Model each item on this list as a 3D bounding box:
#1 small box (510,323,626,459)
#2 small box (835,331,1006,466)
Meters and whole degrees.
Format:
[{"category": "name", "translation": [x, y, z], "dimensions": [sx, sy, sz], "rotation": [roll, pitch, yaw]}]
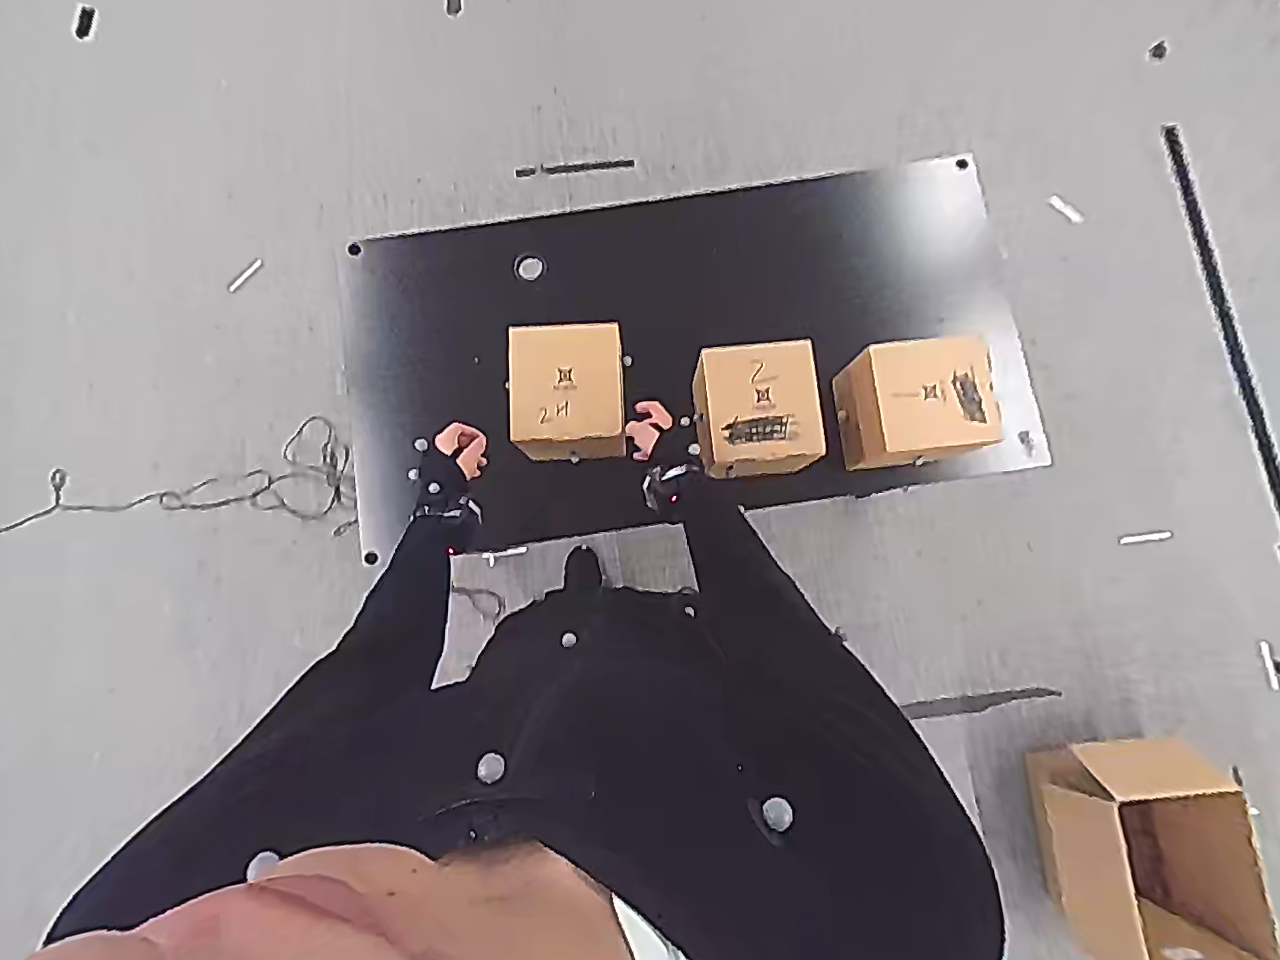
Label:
[{"category": "small box", "translation": [-0.109, -0.136, 0.873], "dimensions": [0.168, 0.176, 0.179], "rotation": [-3, 83, 1]}, {"category": "small box", "translation": [0.435, -0.122, 0.865], "dimensions": [0.179, 0.176, 0.168], "rotation": [-6, 82, 1]}]
